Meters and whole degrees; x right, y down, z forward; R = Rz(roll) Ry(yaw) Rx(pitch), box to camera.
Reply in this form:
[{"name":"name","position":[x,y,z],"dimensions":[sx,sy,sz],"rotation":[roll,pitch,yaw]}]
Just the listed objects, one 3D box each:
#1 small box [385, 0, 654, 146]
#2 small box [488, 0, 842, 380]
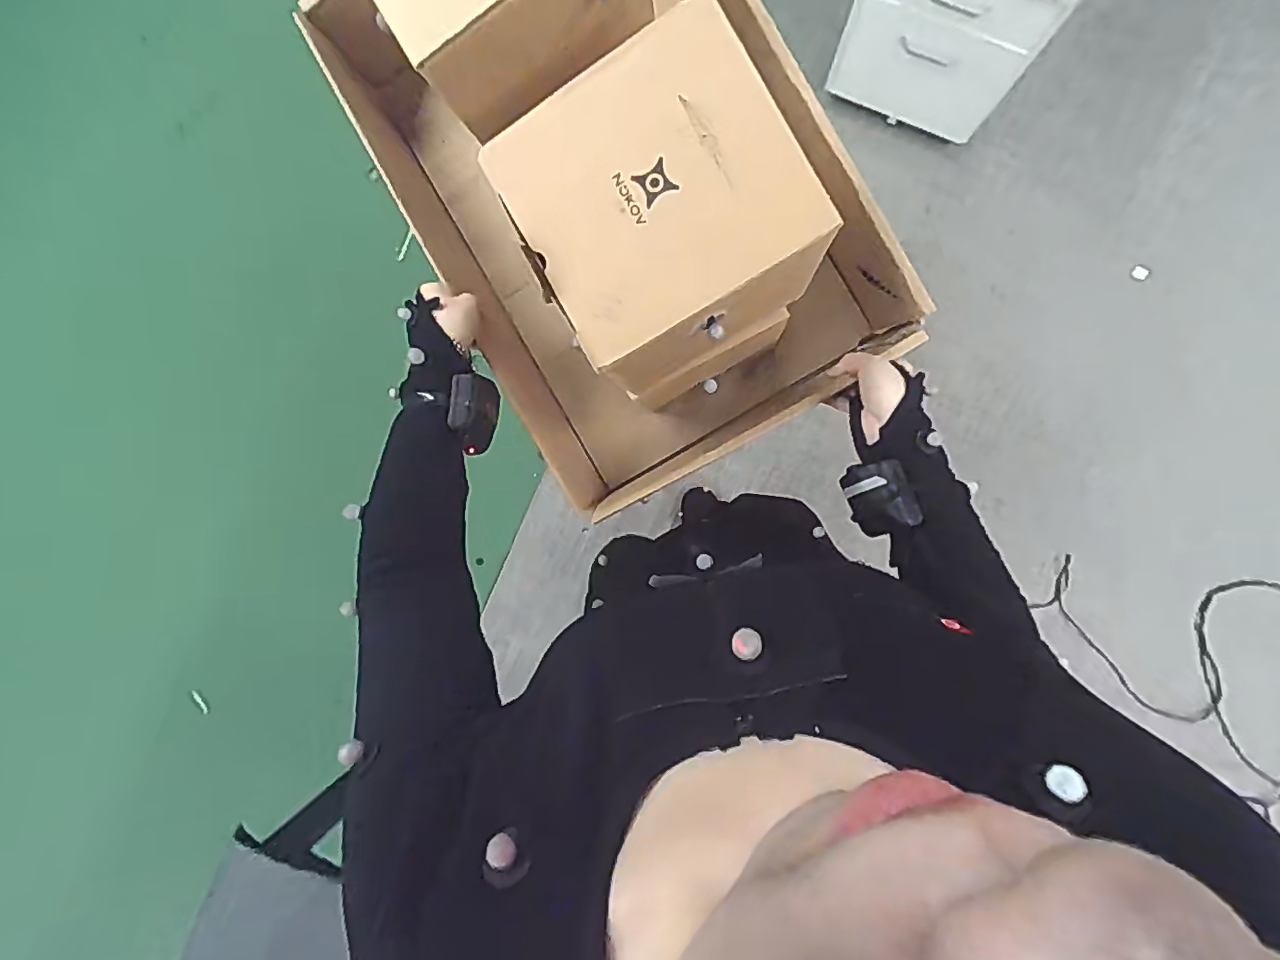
[{"name":"small box","position":[-0.099,-0.392,0.420],"dimensions":[0.179,0.176,0.168],"rotation":[-30,91,8]},{"name":"small box","position":[0.023,-0.192,0.417],"dimensions":[0.179,0.176,0.168],"rotation":[-29,90,9]}]
